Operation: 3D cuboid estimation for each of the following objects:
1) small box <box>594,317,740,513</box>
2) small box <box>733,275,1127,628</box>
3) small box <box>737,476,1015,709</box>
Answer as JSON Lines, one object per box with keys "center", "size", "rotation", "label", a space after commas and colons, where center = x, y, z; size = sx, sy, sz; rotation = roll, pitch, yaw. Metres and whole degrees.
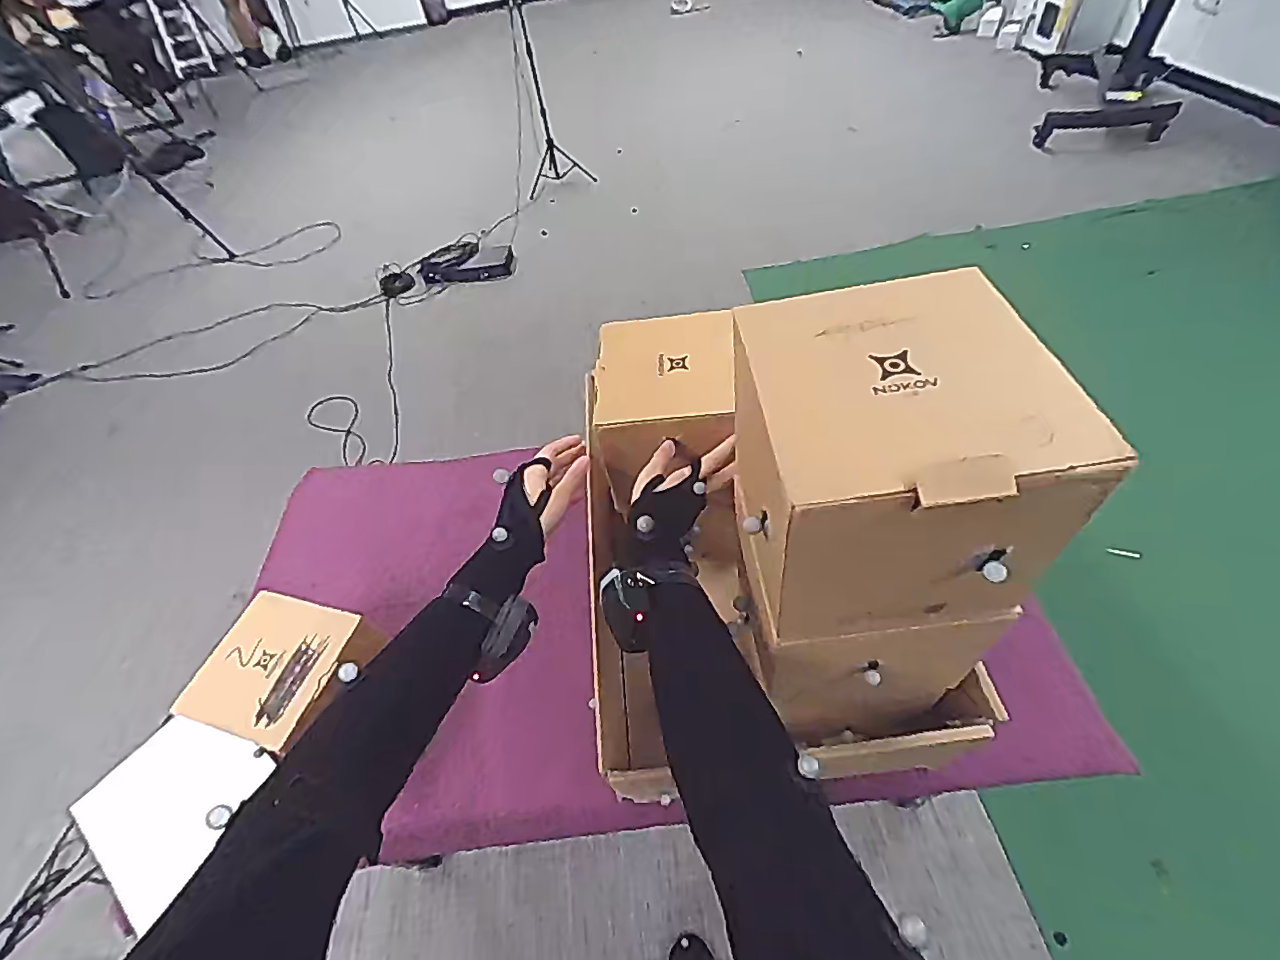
{"center": [0.049, -0.073, 0.662], "size": [0.179, 0.176, 0.168], "rotation": [-5, 53, 7], "label": "small box"}
{"center": [0.161, -0.010, 0.376], "size": [0.168, 0.176, 0.179], "rotation": [-8, 50, 5], "label": "small box"}
{"center": [0.188, 0.097, 0.497], "size": [0.179, 0.176, 0.168], "rotation": [-9, 50, 5], "label": "small box"}
